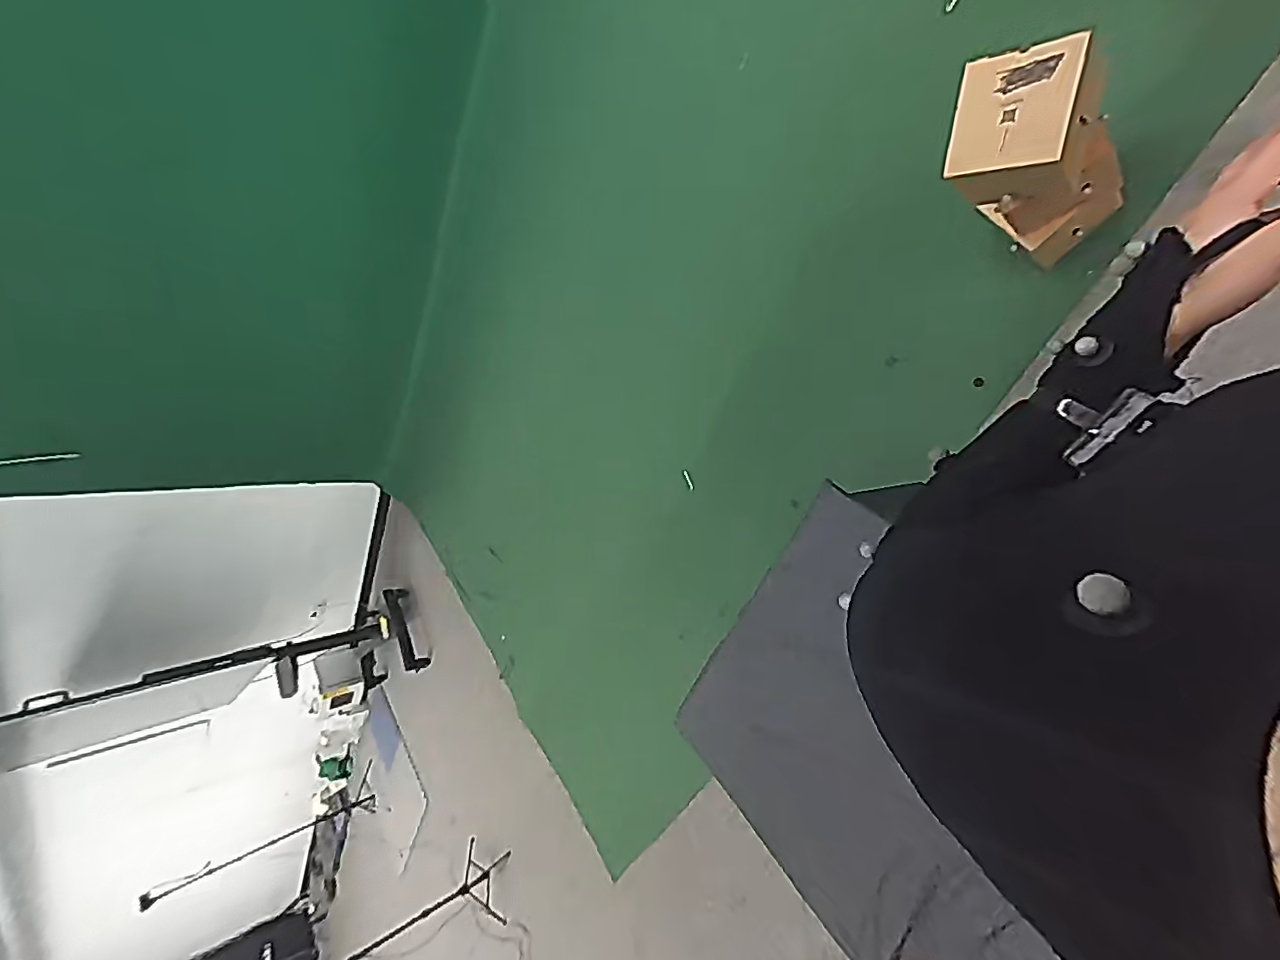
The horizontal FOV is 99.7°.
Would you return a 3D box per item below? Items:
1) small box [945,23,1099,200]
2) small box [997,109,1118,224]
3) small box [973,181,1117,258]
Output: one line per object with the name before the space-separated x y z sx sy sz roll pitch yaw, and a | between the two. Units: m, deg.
small box | 0.635 -0.591 0.896 0.168 0.176 0.179 17 106 42
small box | 0.755 -0.607 1.007 0.168 0.176 0.179 -24 76 42
small box | 0.854 -0.594 1.138 0.168 0.176 0.179 -49 60 35
